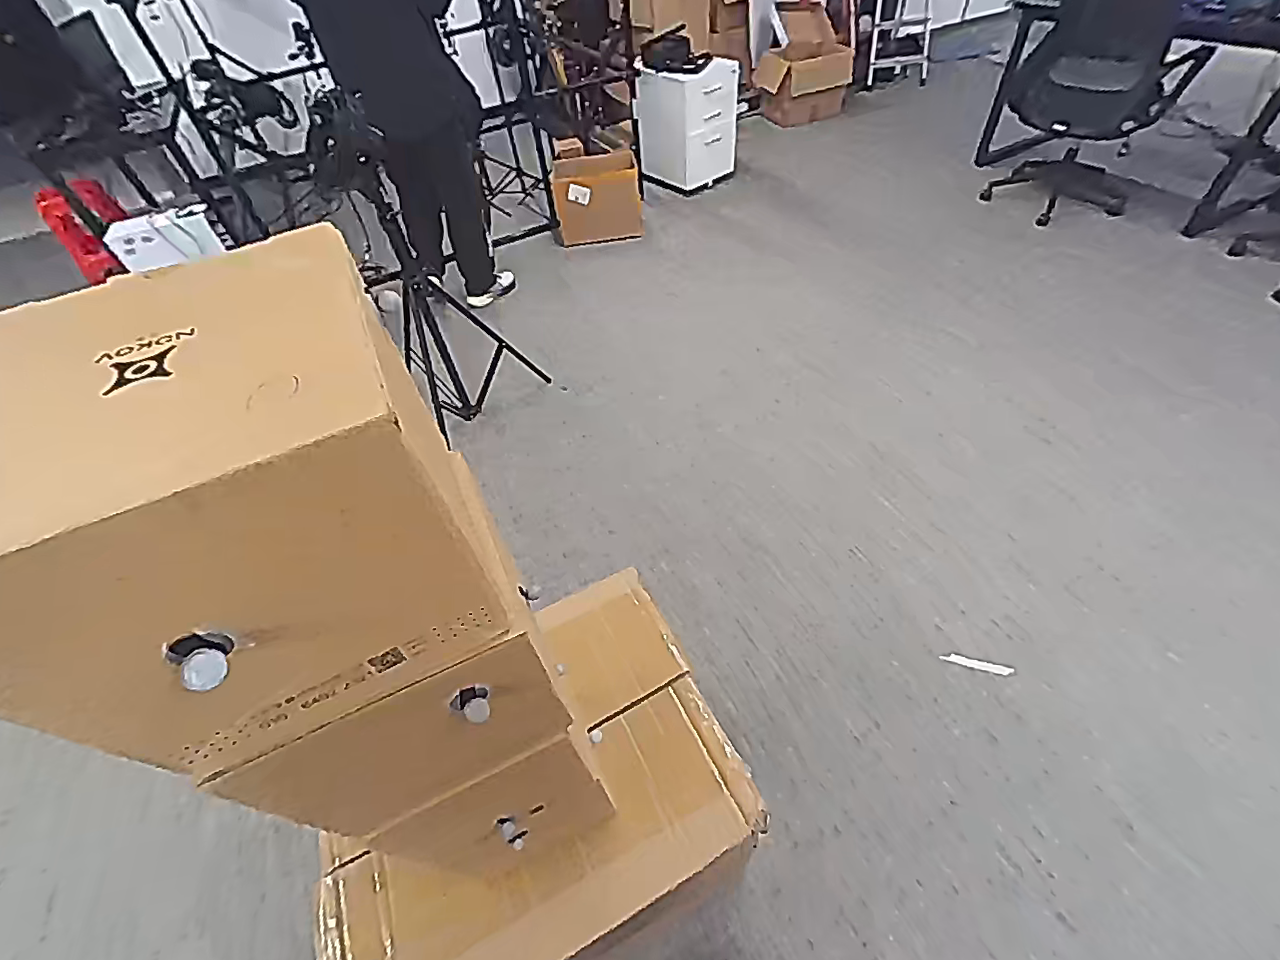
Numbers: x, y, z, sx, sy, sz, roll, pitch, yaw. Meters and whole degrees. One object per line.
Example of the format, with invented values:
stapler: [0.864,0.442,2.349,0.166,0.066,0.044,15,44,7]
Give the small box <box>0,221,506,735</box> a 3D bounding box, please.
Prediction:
small box: [-0.186,0.003,0.276,0.168,0.176,0.179,-25,51,-15]

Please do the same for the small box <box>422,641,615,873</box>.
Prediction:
small box: [-0.144,0.330,0.641,0.179,0.176,0.168,-23,51,-14]

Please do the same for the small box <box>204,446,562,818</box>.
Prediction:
small box: [-0.167,0.111,0.396,0.179,0.176,0.168,-23,51,-14]
